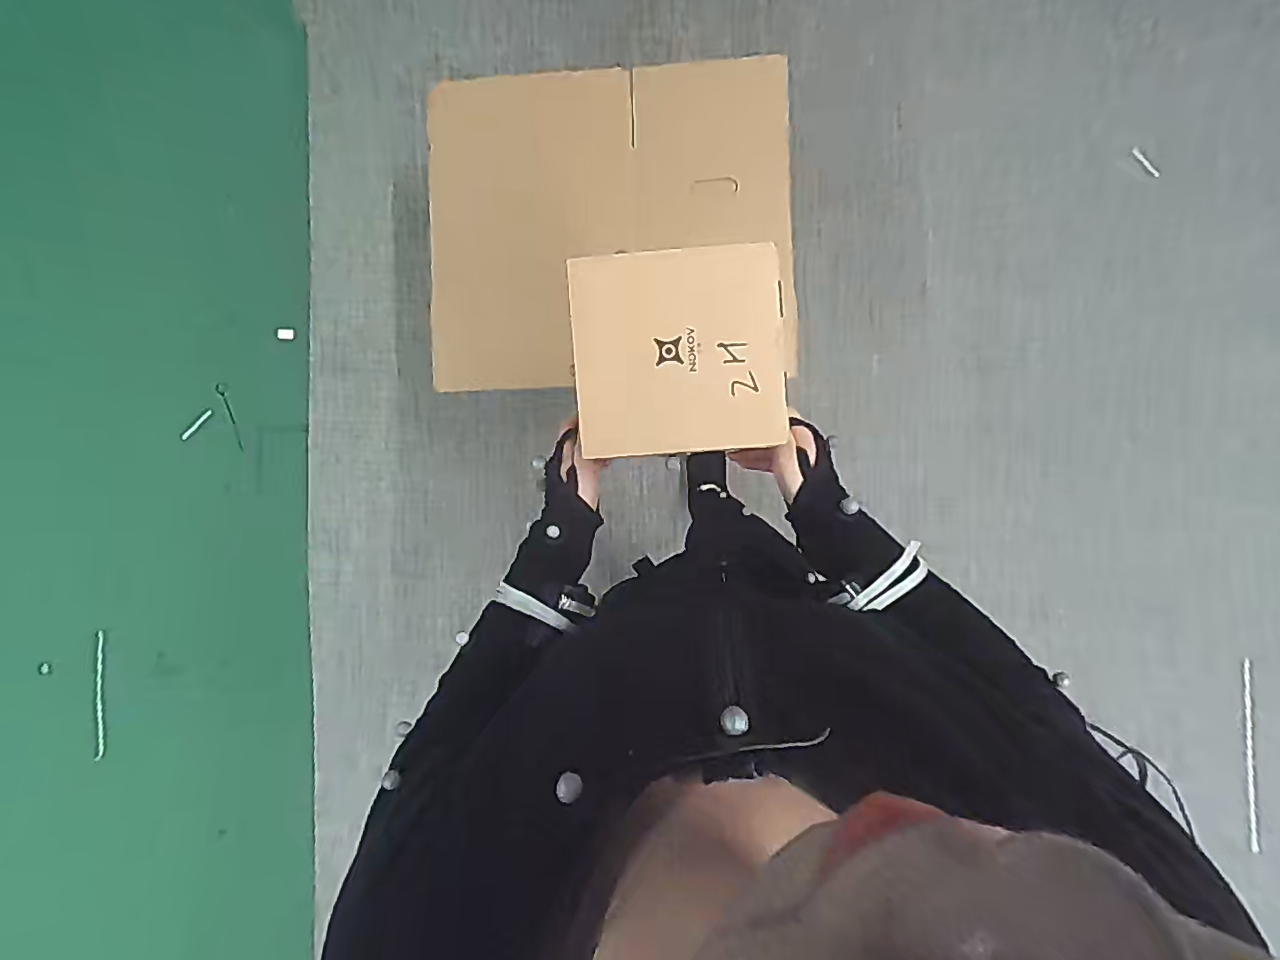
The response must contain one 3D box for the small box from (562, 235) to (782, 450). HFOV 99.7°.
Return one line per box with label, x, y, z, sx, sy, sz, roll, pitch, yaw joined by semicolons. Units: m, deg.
small box;0.029;-0.116;0.522;0.179;0.176;0.168;-3;93;1
